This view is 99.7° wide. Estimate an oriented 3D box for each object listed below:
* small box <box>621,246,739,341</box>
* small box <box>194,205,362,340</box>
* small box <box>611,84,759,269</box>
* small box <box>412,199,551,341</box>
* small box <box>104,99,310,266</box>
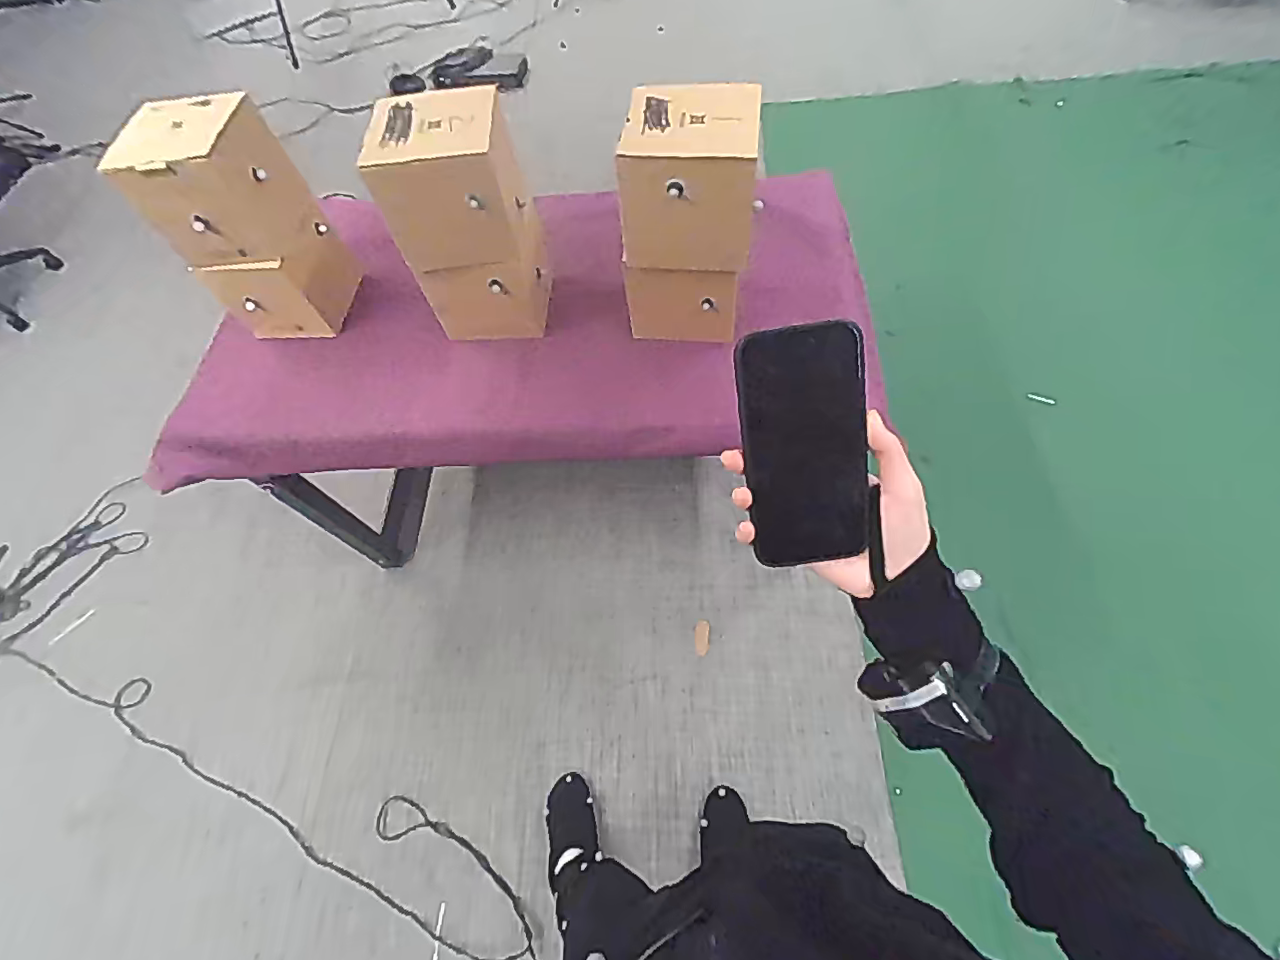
[{"bbox_3d":[0.076,-0.351,0.907,0.179,0.176,0.168,5,61,10],"label":"small box"},{"bbox_3d":[-0.650,-0.374,0.998,0.168,0.176,0.179,0,61,6],"label":"small box"},{"bbox_3d":[0.068,-0.418,0.757,0.179,0.176,0.168,5,61,8],"label":"small box"},{"bbox_3d":[-0.263,-0.361,0.947,0.179,0.176,0.168,-1,61,6],"label":"small box"},{"bbox_3d":[-0.665,-0.460,0.859,0.168,0.176,0.179,-4,61,3],"label":"small box"}]
